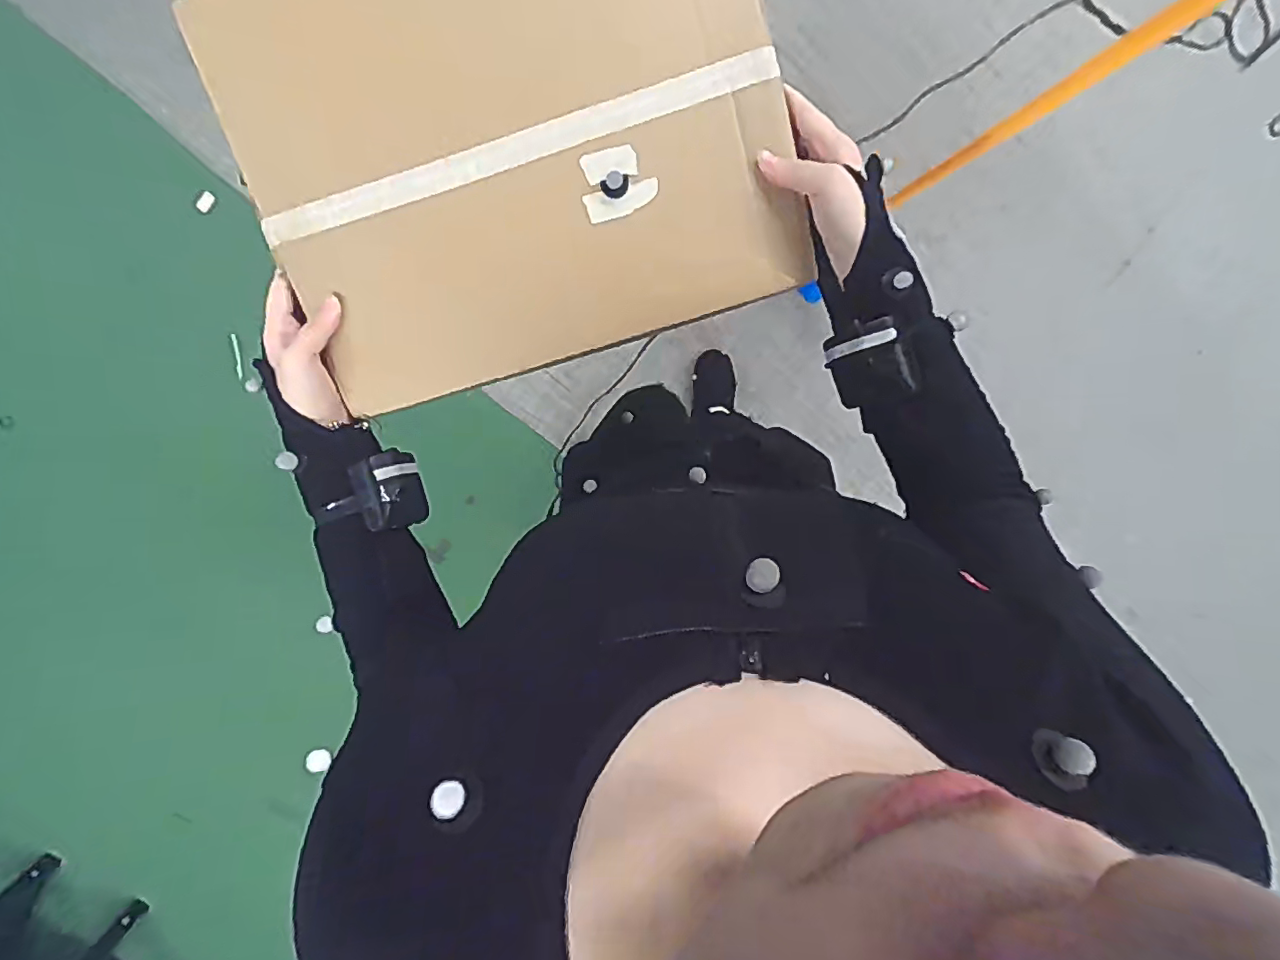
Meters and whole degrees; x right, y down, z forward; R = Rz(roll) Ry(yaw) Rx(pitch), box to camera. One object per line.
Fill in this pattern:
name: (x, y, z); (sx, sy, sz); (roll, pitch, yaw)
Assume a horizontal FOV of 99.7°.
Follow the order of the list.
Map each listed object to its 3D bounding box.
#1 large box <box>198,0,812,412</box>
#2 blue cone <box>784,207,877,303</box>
large box: (-0.097, -0.291, 0.562); (0.408, 0.320, 0.320); (-18, 104, 2)
blue cone: (0.445, -0.540, 1.217); (0.192, 0.380, 0.193); (-41, 99, 8)
